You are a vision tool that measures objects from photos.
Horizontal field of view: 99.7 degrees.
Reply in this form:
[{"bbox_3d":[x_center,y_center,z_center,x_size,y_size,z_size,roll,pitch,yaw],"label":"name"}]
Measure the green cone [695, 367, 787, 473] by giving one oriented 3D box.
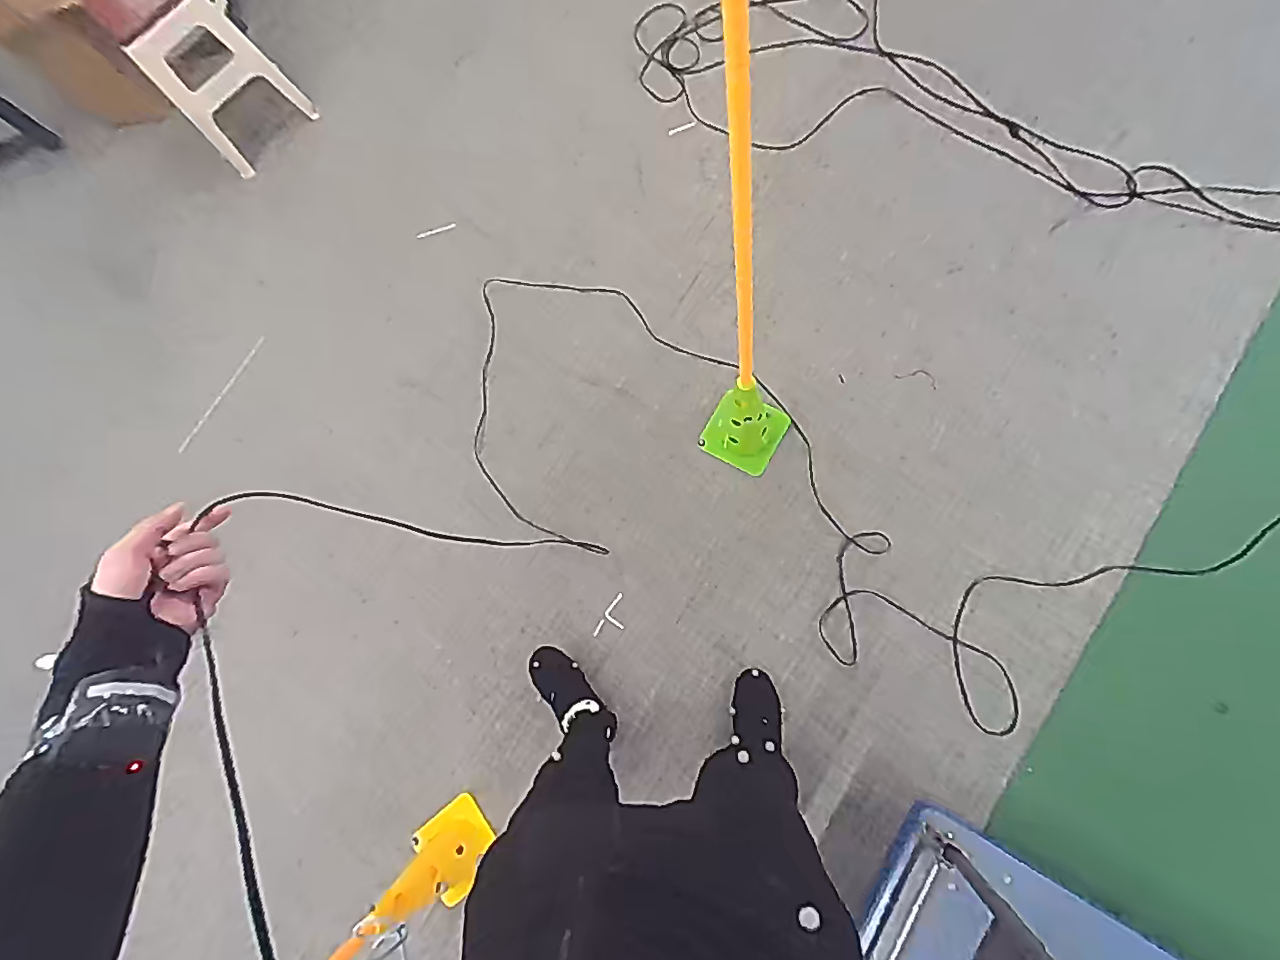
[{"bbox_3d":[0.254,-0.180,1.334,0.200,0.368,0.202,28,82,14],"label":"green cone"}]
